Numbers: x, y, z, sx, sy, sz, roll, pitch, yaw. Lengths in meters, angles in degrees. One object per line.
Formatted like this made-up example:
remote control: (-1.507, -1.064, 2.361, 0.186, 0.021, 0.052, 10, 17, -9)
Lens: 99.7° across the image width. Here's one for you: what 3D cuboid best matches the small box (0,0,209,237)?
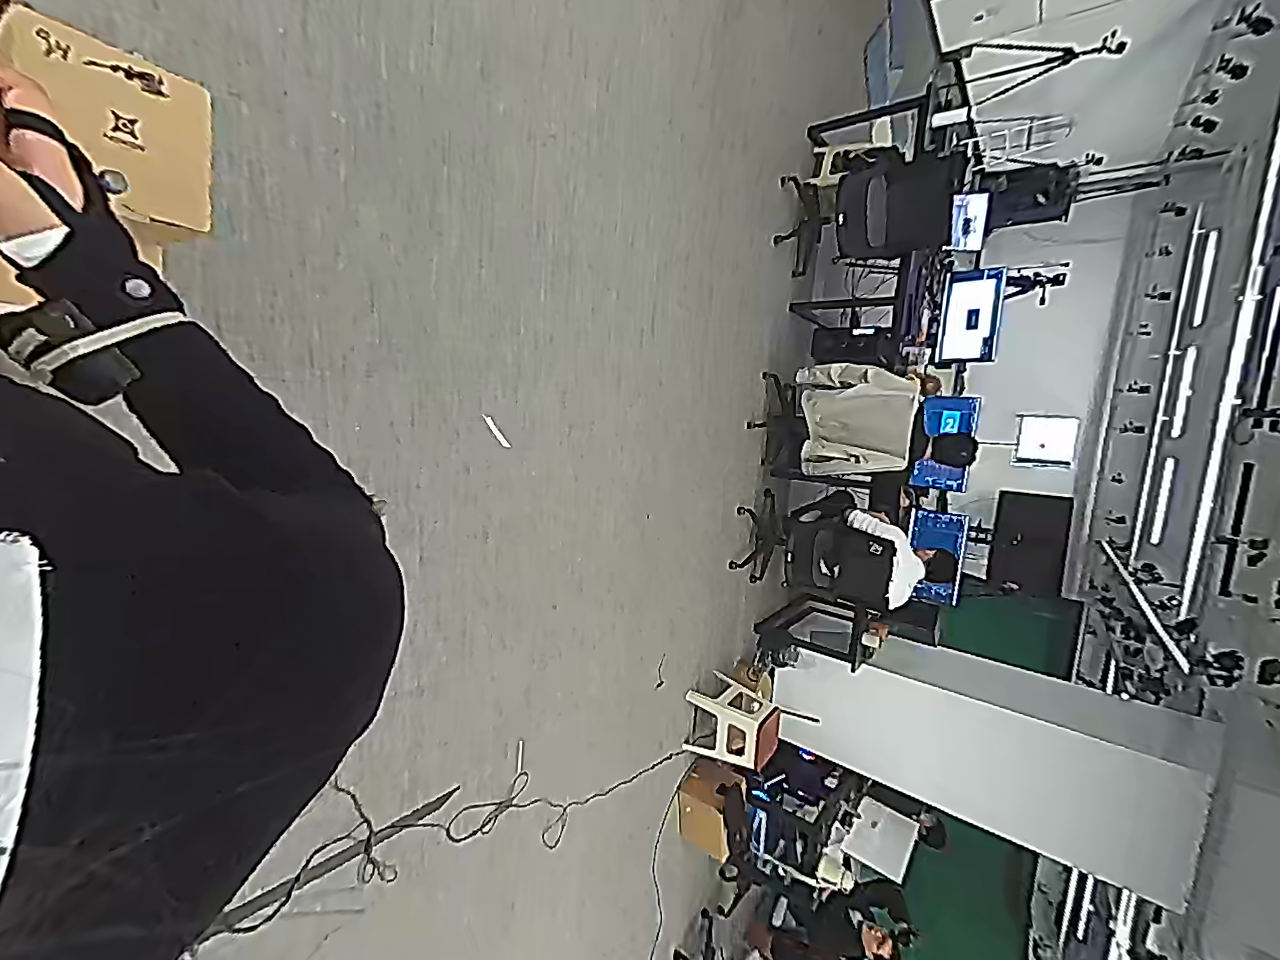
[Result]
small box: (-0.654, -0.408, 0.653, 0.168, 0.176, 0.179, -5, 104, -56)
